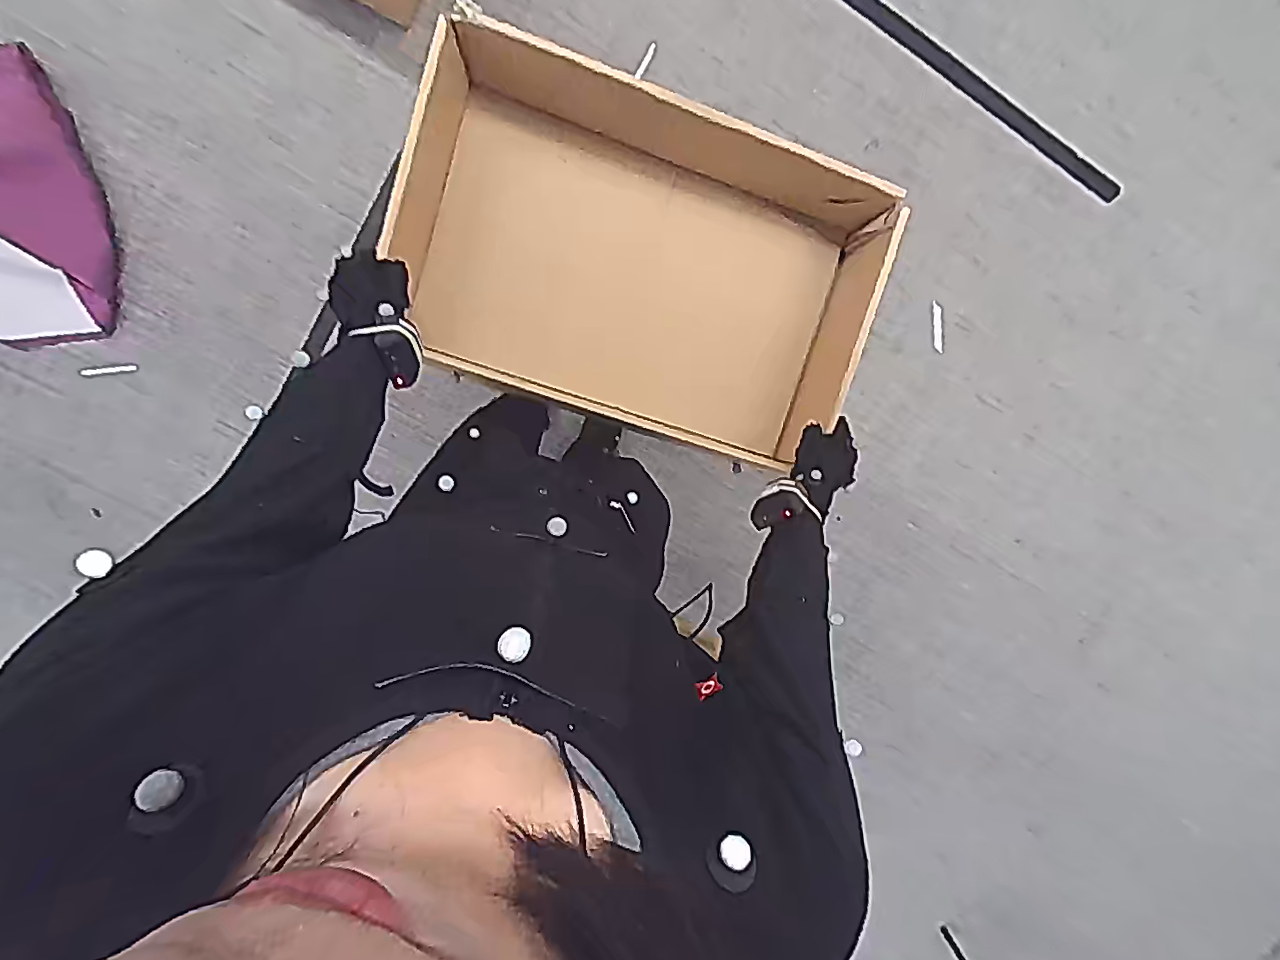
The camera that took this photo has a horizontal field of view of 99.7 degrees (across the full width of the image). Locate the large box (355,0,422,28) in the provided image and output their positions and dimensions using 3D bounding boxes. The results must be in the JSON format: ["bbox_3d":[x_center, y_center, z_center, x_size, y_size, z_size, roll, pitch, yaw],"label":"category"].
[{"bbox_3d":[-0.650,-1.256,1.094,0.408,0.320,0.320,25,99,-8],"label":"large box"}]
